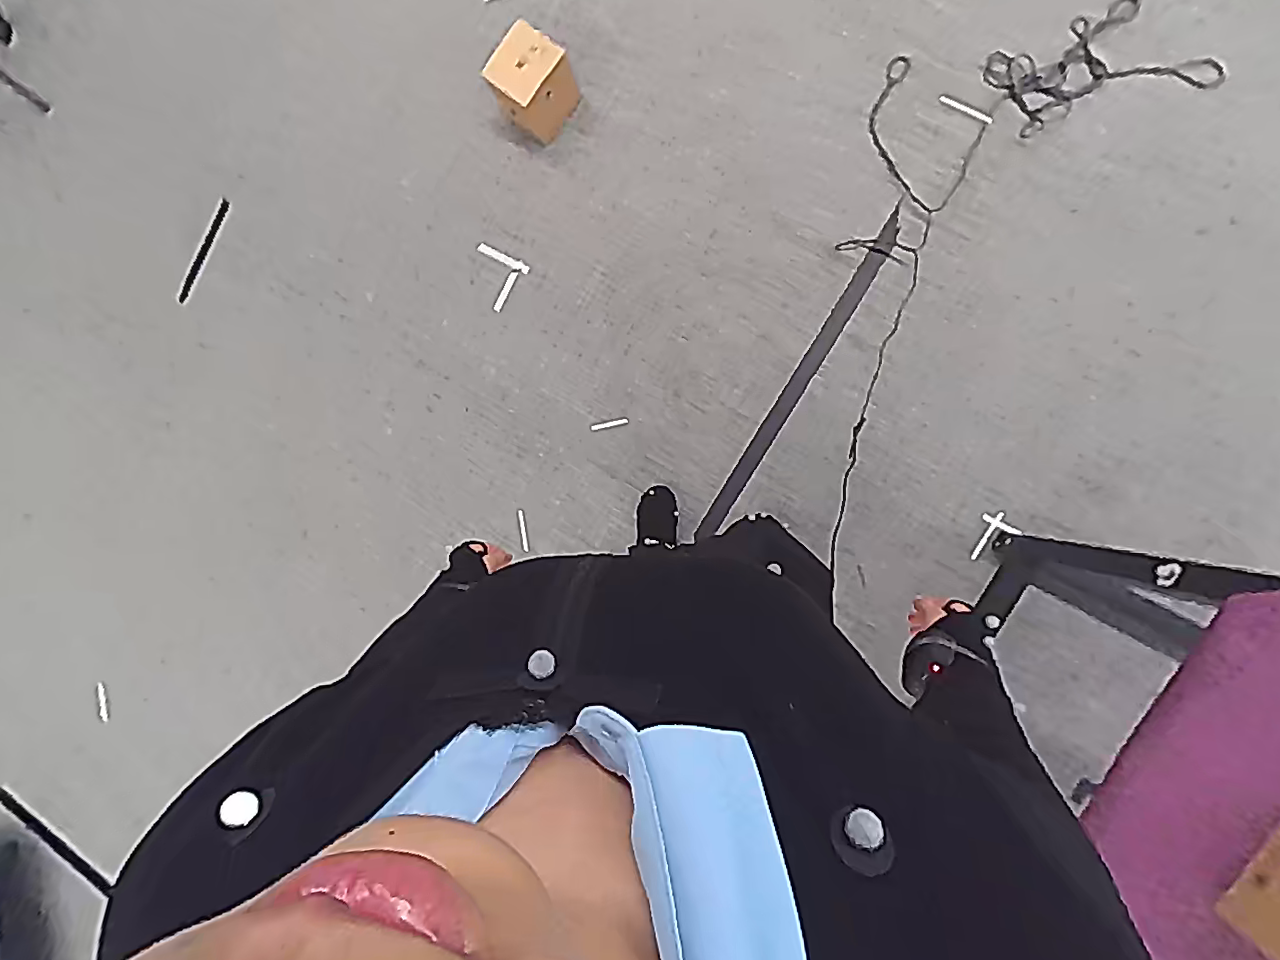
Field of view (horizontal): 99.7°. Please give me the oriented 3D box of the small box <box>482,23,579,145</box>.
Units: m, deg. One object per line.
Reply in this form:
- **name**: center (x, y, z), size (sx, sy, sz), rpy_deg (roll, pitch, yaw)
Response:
- **small box**: center (-0.290, -1.074, 1.485), size (0.168, 0.176, 0.179), rpy_deg (40, 95, 7)

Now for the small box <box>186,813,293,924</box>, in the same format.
- **small box**: center (-1.183, 1.146, 1.613), size (0.168, 0.176, 0.179), rpy_deg (24, 94, 9)
